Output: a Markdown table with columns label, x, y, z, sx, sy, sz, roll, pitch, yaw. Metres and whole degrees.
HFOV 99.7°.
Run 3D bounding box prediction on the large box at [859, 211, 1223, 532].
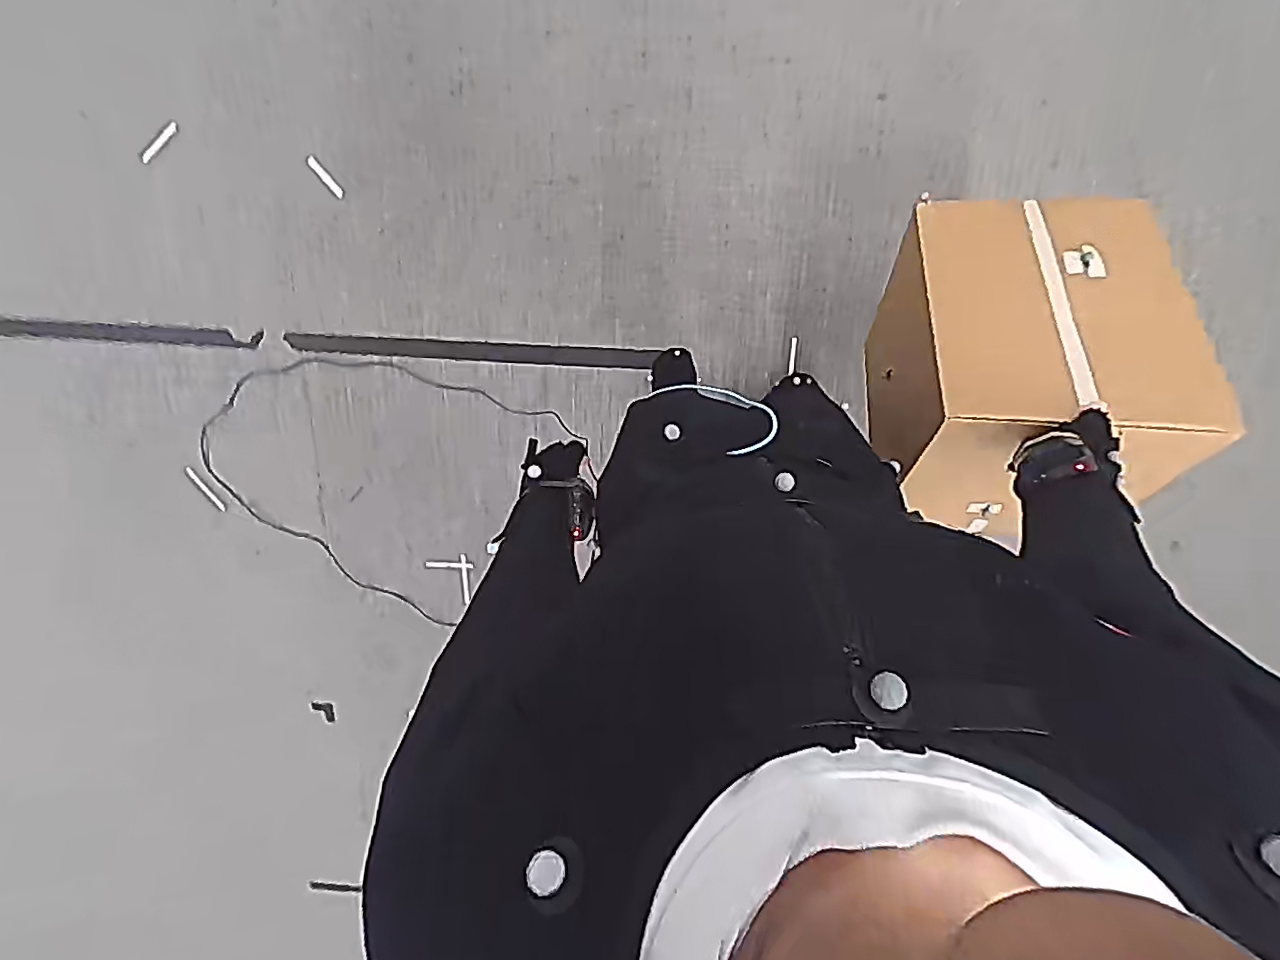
| label | x | y | z | sx | sy | sz | roll | pitch | yaw |
| --- | --- | --- | --- | --- | --- | --- | --- | --- | --- |
| large box | 0.558 | -0.162 | 0.864 | 0.320 | 0.320 | 0.408 | 5 | 61 | 7 |
